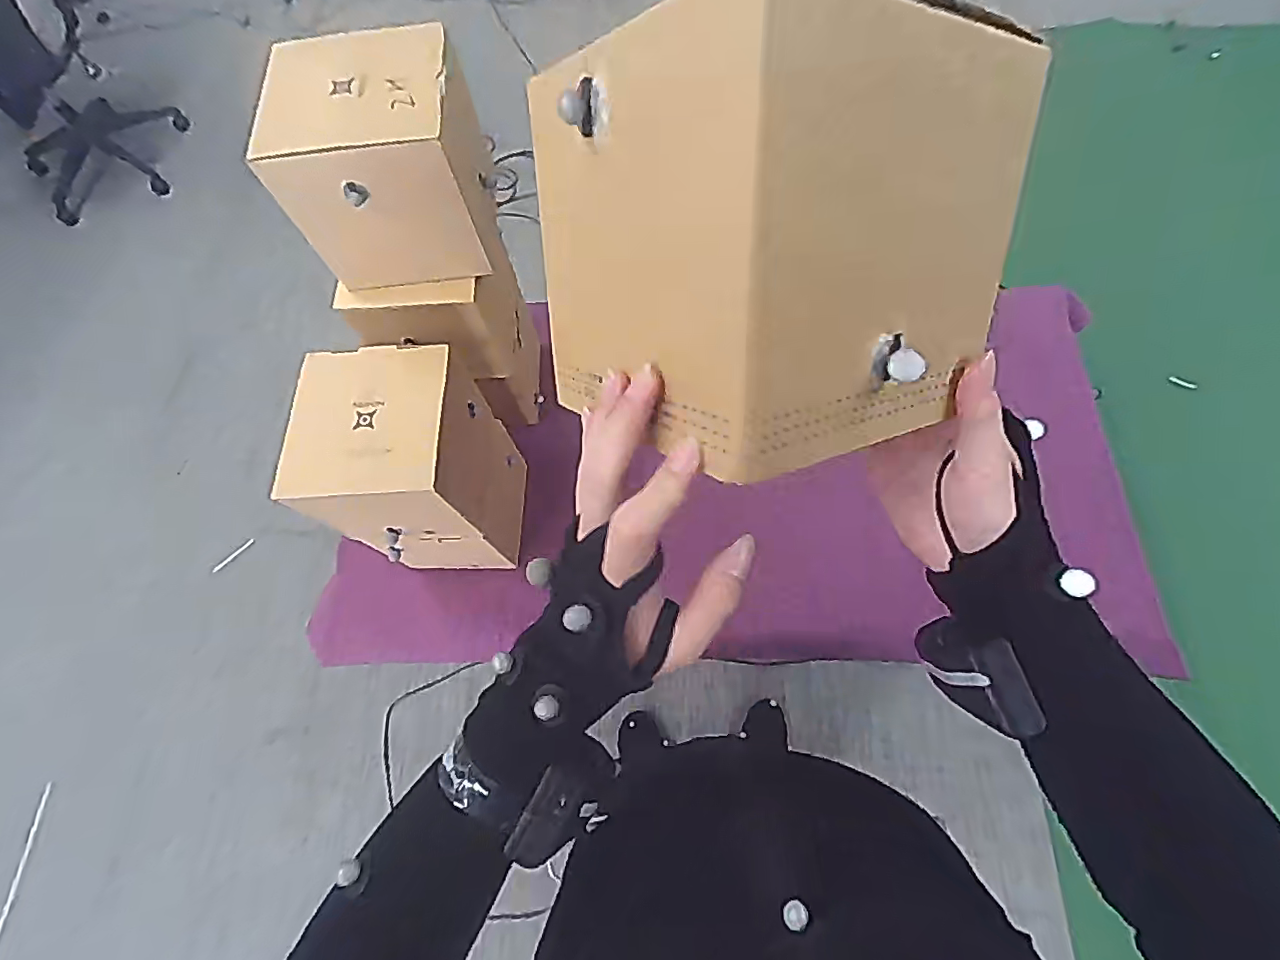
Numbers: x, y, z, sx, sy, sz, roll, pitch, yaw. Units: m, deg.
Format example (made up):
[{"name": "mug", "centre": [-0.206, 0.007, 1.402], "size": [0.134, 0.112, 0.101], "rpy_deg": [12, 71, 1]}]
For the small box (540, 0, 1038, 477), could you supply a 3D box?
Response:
[{"name": "small box", "centre": [0.062, -0.117, 0.289], "size": [0.179, 0.176, 0.168], "rpy_deg": [-15, 26, -29]}]

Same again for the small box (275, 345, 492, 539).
[{"name": "small box", "centre": [-0.282, -0.038, 0.641], "size": [0.168, 0.176, 0.179], "rpy_deg": [-2, 68, 2]}]

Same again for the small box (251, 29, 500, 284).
[{"name": "small box", "centre": [-0.262, -0.333, 0.581], "size": [0.179, 0.176, 0.168], "rpy_deg": [-6, 69, 0]}]

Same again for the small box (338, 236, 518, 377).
[{"name": "small box", "centre": [-0.267, -0.249, 0.725], "size": [0.168, 0.176, 0.179], "rpy_deg": [-3, 68, 1]}]
